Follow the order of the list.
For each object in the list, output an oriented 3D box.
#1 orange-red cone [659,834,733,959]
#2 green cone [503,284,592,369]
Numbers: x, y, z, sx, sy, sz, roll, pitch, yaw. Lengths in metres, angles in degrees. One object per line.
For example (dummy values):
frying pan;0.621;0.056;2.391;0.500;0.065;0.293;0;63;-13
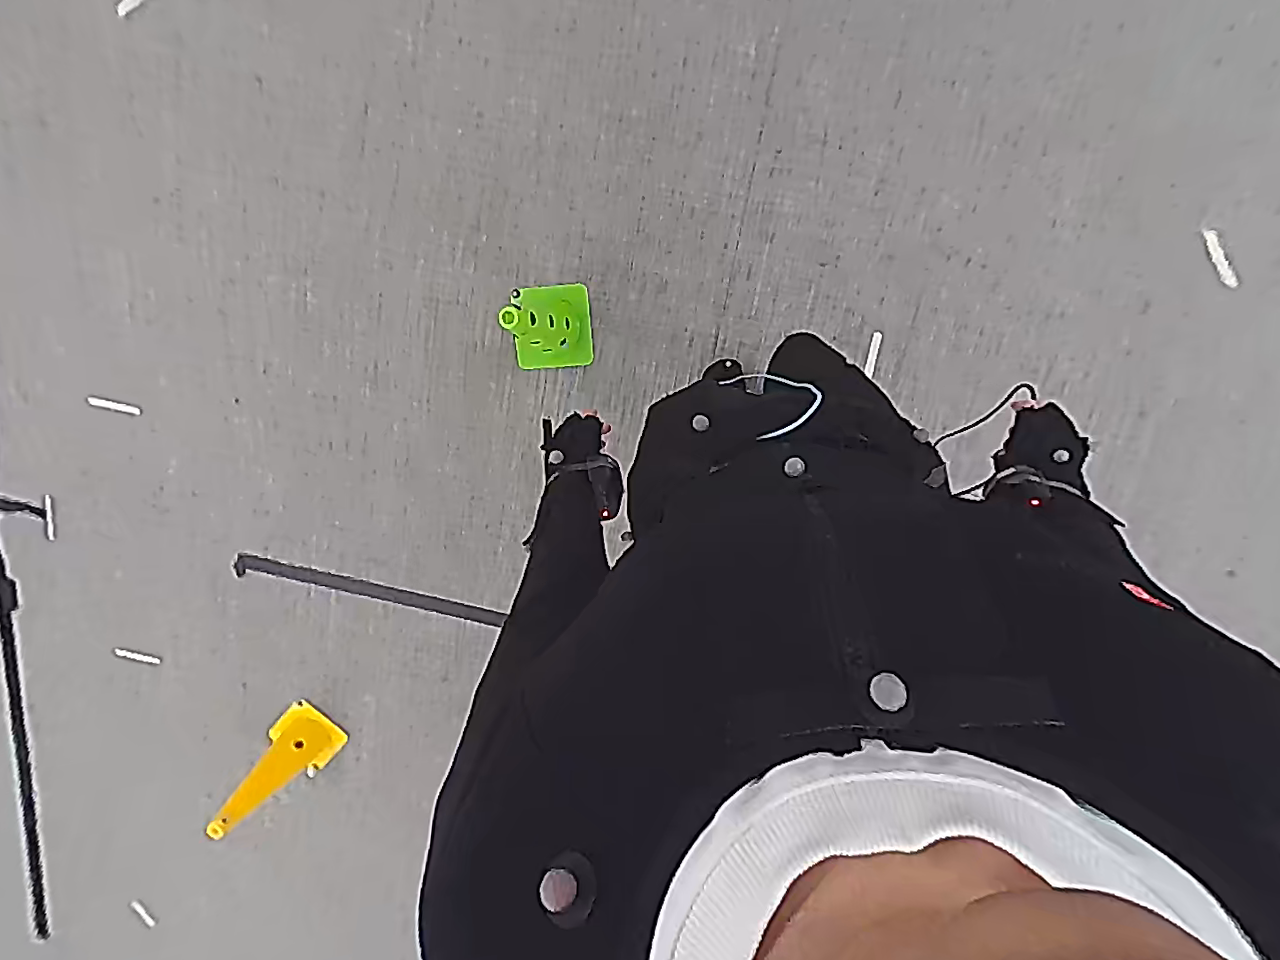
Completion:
orange-red cone;0.159;1.259;1.543;0.199;0.360;0.198;19;103;1
green cone;-0.237;-0.348;1.207;0.202;0.368;0.200;-4;103;5
